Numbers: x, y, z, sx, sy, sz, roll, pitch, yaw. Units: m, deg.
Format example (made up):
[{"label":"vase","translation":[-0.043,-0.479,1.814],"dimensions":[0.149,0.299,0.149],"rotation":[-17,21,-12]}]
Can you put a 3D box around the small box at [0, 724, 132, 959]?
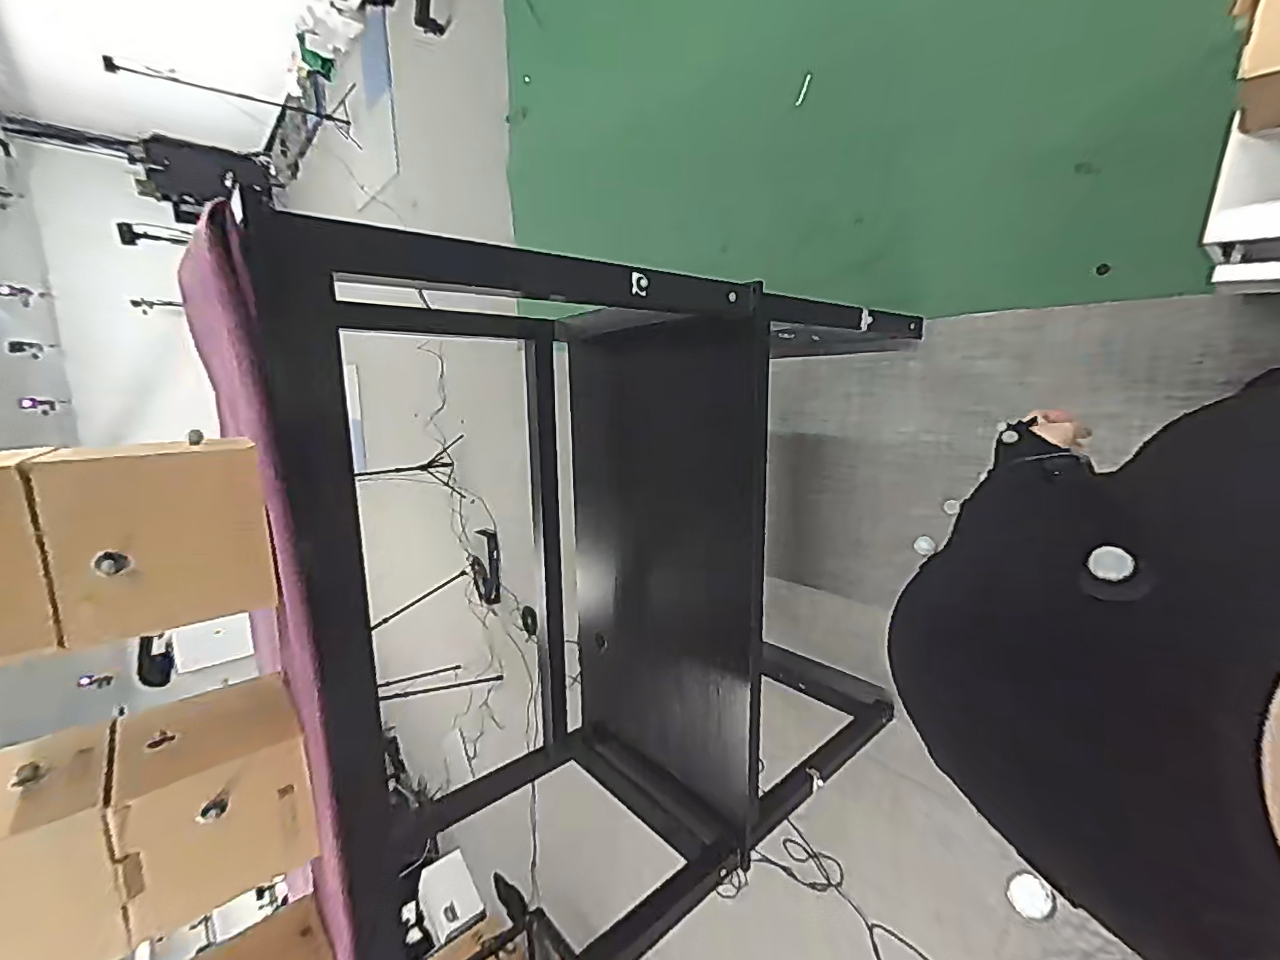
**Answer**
[{"label":"small box","translation":[-0.612,0.379,0.524],"dimensions":[0.168,0.176,0.179],"rotation":[13,106,47]}]

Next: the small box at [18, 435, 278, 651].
[{"label":"small box","translation":[-0.503,0.050,0.580],"dimensions":[0.168,0.176,0.179],"rotation":[10,105,51]}]

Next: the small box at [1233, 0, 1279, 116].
[{"label":"small box","translation":[0.659,-0.446,0.463],"dimensions":[0.179,0.176,0.168],"rotation":[15,109,47]}]

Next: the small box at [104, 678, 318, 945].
[{"label":"small box","translation":[-0.487,0.358,0.630],"dimensions":[0.179,0.176,0.168],"rotation":[13,106,48]}]

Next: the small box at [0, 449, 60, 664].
[{"label":"small box","translation":[-0.632,0.073,0.484],"dimensions":[0.168,0.176,0.179],"rotation":[11,106,50]}]
